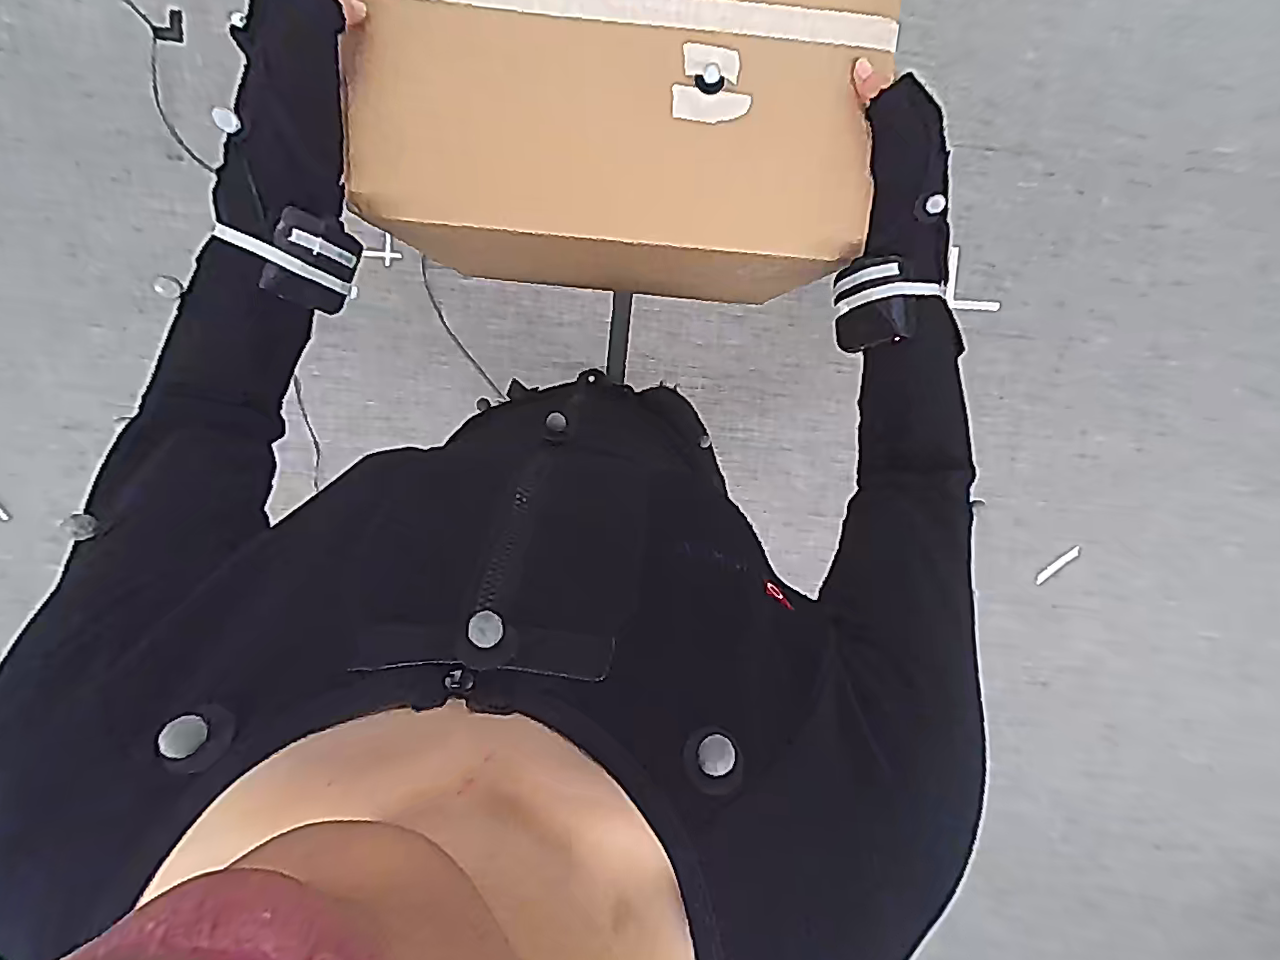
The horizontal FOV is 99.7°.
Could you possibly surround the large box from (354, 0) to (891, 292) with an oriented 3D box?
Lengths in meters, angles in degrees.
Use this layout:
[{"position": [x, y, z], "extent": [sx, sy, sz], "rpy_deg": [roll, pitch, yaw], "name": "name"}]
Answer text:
[{"position": [-0.017, -0.383, 0.546], "extent": [0.408, 0.320, 0.320], "rpy_deg": [4, 102, -3], "name": "large box"}]
